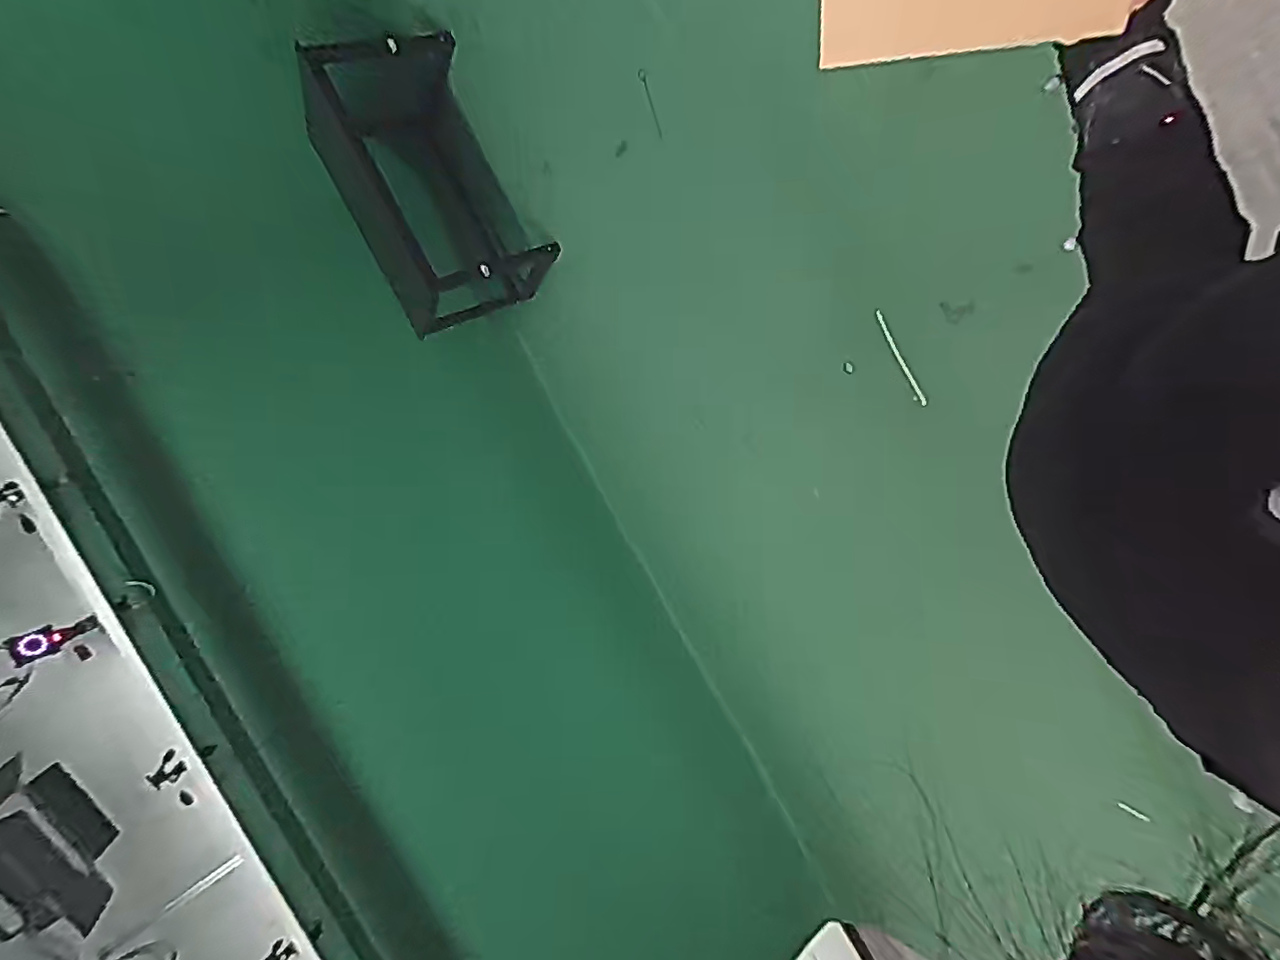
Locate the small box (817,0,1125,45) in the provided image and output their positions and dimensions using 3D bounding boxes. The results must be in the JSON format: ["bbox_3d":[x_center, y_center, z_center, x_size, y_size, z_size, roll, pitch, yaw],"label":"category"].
[{"bbox_3d":[0.205,-0.385,0.302,0.168,0.179,0.176,13,146,26],"label":"small box"}]
